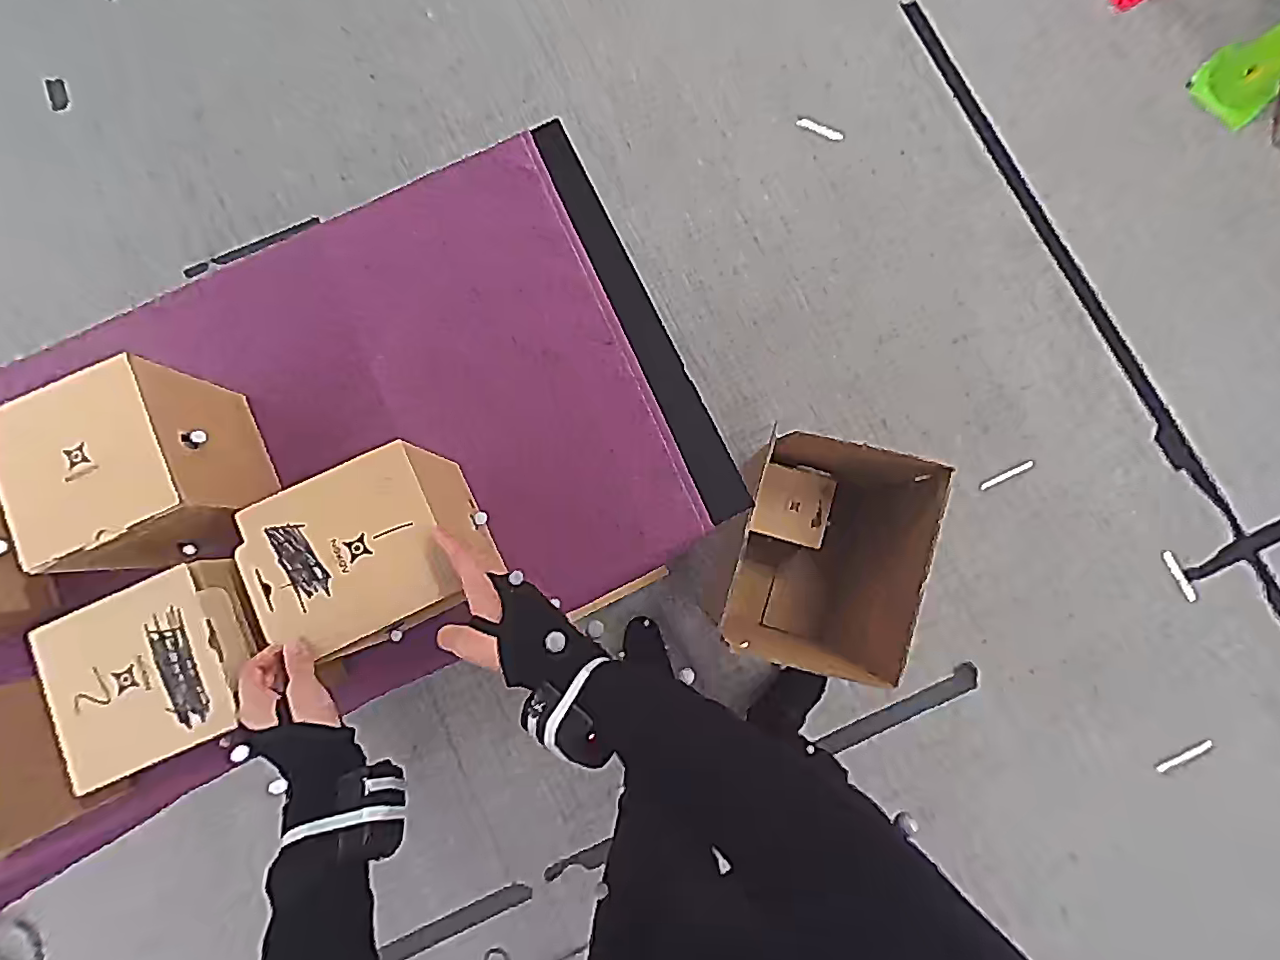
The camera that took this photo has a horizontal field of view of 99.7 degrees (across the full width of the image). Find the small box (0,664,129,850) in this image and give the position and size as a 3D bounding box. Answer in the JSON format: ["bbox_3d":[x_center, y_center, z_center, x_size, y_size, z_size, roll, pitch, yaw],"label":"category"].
[{"bbox_3d":[-0.726,0.323,0.580,0.179,0.176,0.168,-26,85,-3],"label":"small box"}]

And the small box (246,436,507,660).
[{"bbox_3d":[-0.275,0.074,0.603,0.179,0.176,0.168,-26,83,-2],"label":"small box"}]

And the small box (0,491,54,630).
[{"bbox_3d":[-0.843,0.113,0.603,0.179,0.176,0.168,-28,85,-3],"label":"small box"}]
